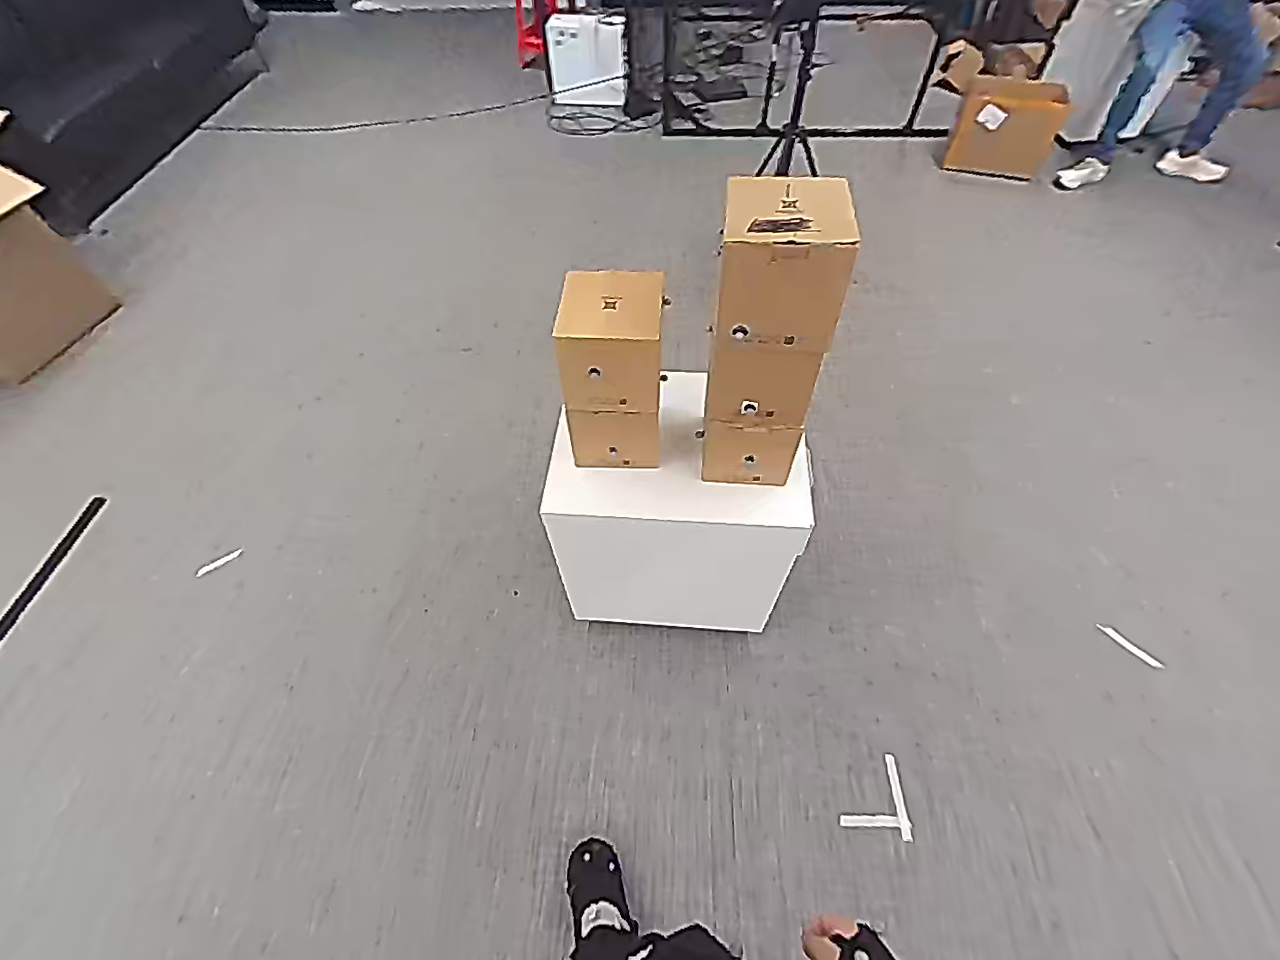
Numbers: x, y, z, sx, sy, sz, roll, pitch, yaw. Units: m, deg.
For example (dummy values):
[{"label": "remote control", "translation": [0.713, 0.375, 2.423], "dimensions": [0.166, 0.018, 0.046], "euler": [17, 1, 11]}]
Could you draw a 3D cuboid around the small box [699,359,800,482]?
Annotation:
[{"label": "small box", "translation": [0.203, -0.111, 1.036], "dimensions": [0.168, 0.176, 0.179], "euler": [3, 56, 4]}]

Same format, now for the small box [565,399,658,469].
[{"label": "small box", "translation": [-0.049, -0.141, 1.065], "dimensions": [0.168, 0.176, 0.179], "euler": [1, 55, 2]}]

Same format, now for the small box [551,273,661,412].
[{"label": "small box", "translation": [-0.049, -0.233, 0.930], "dimensions": [0.168, 0.176, 0.179], "euler": [2, 54, 2]}]

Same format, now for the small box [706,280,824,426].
[{"label": "small box", "translation": [0.200, -0.213, 0.910], "dimensions": [0.168, 0.176, 0.179], "euler": [3, 55, 5]}]

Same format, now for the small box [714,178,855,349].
[{"label": "small box", "translation": [0.195, -0.307, 0.775], "dimensions": [0.168, 0.176, 0.179], "euler": [4, 53, 6]}]
